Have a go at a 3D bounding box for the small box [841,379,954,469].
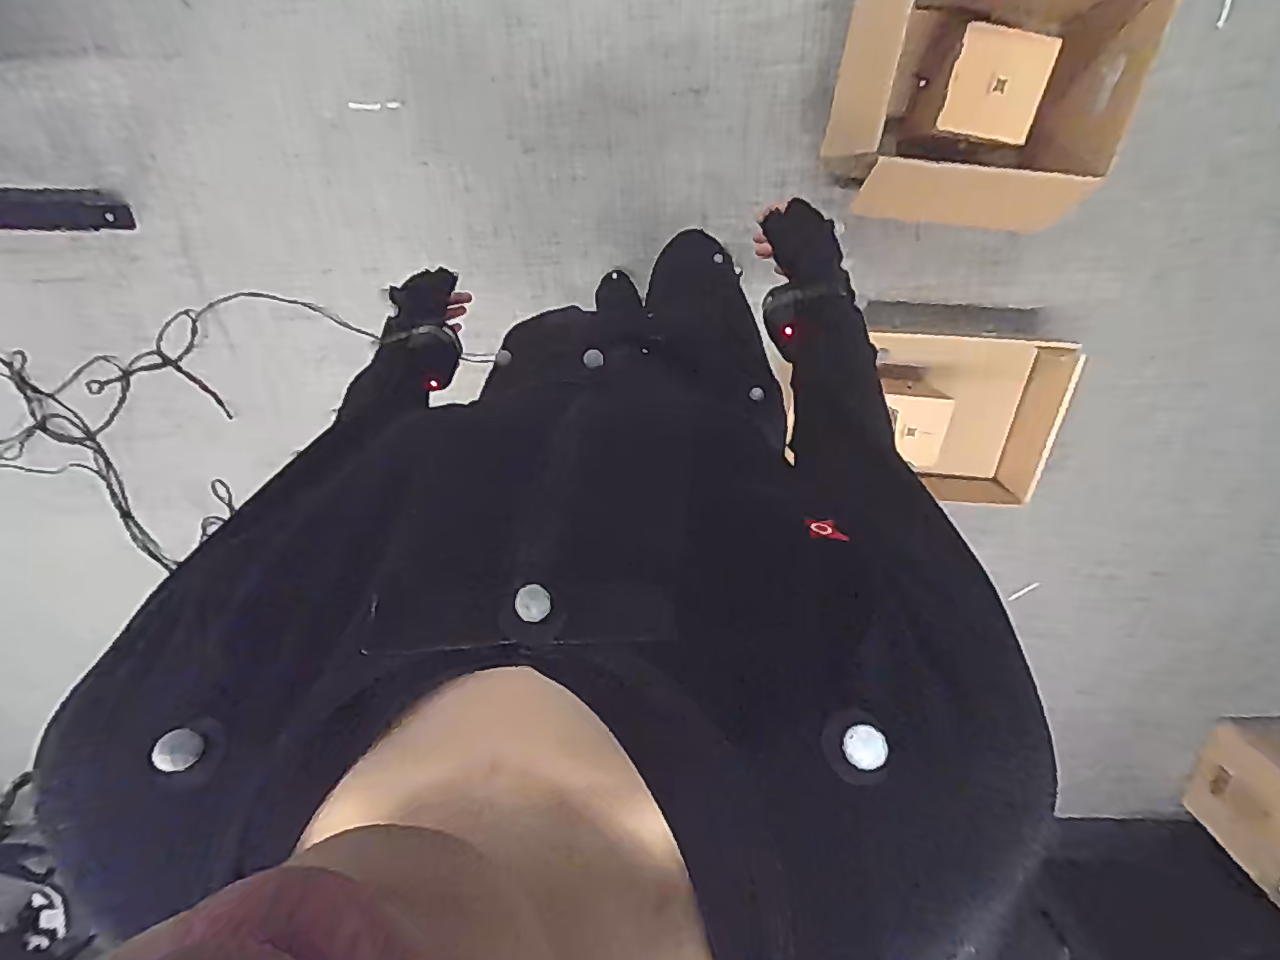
[{"bbox_3d":[0.605,-0.141,1.299,0.179,0.176,0.168,5,115,-2],"label":"small box"}]
